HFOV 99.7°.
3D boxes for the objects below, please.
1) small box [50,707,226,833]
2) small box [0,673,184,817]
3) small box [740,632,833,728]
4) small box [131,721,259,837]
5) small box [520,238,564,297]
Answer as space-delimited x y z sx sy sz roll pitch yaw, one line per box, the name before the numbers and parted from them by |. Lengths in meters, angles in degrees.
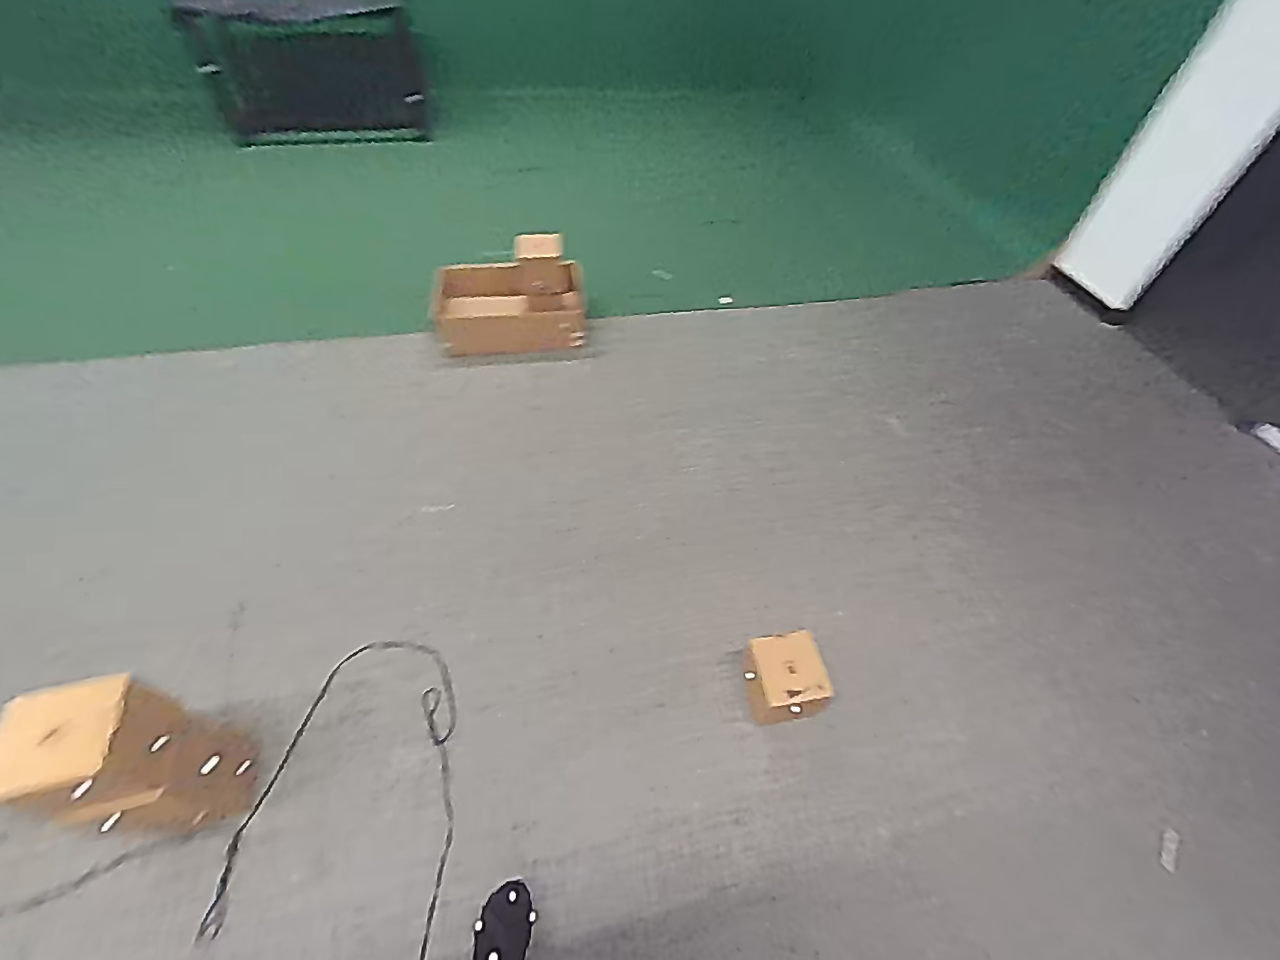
small box | -0.974 0.577 1.070 0.179 0.176 0.168 -10 52 -12
small box | -0.964 0.467 0.950 0.179 0.176 0.168 -11 52 -13
small box | 0.371 0.522 1.409 0.168 0.176 0.179 -6 51 -9
small box | -0.989 0.668 1.206 0.179 0.176 0.168 -14 52 -13
small box | -0.407 -0.883 2.248 0.168 0.176 0.179 -4 53 -6
